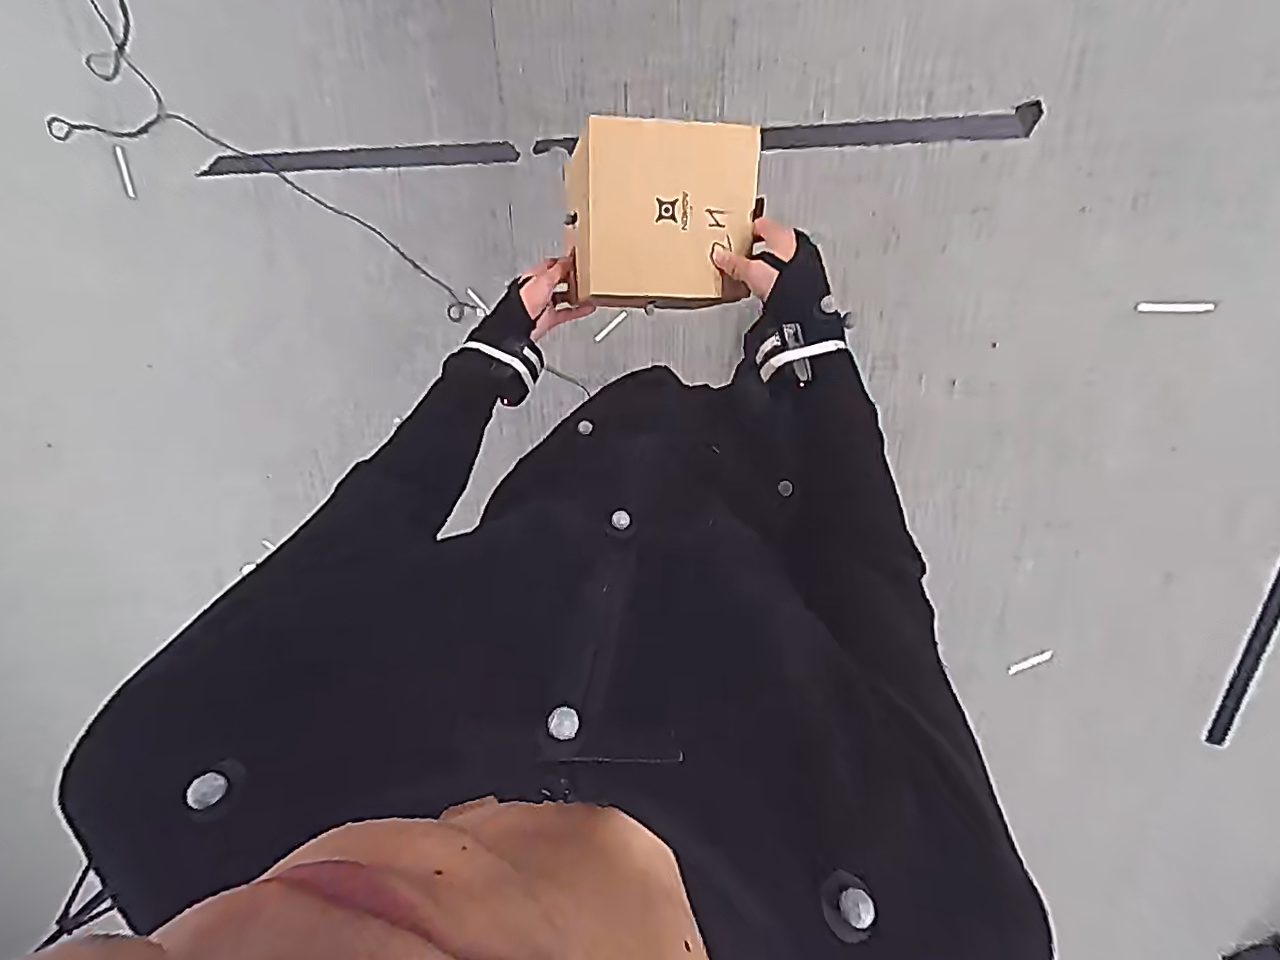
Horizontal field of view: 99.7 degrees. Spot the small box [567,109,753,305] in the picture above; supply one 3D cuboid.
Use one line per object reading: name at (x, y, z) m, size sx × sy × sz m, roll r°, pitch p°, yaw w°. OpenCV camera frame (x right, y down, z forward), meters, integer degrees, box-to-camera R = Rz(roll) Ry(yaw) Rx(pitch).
small box at (0.010, -0.296, 0.628) m, size 0.179 × 0.176 × 0.168 m, roll -3°, pitch 105°, yaw -16°
